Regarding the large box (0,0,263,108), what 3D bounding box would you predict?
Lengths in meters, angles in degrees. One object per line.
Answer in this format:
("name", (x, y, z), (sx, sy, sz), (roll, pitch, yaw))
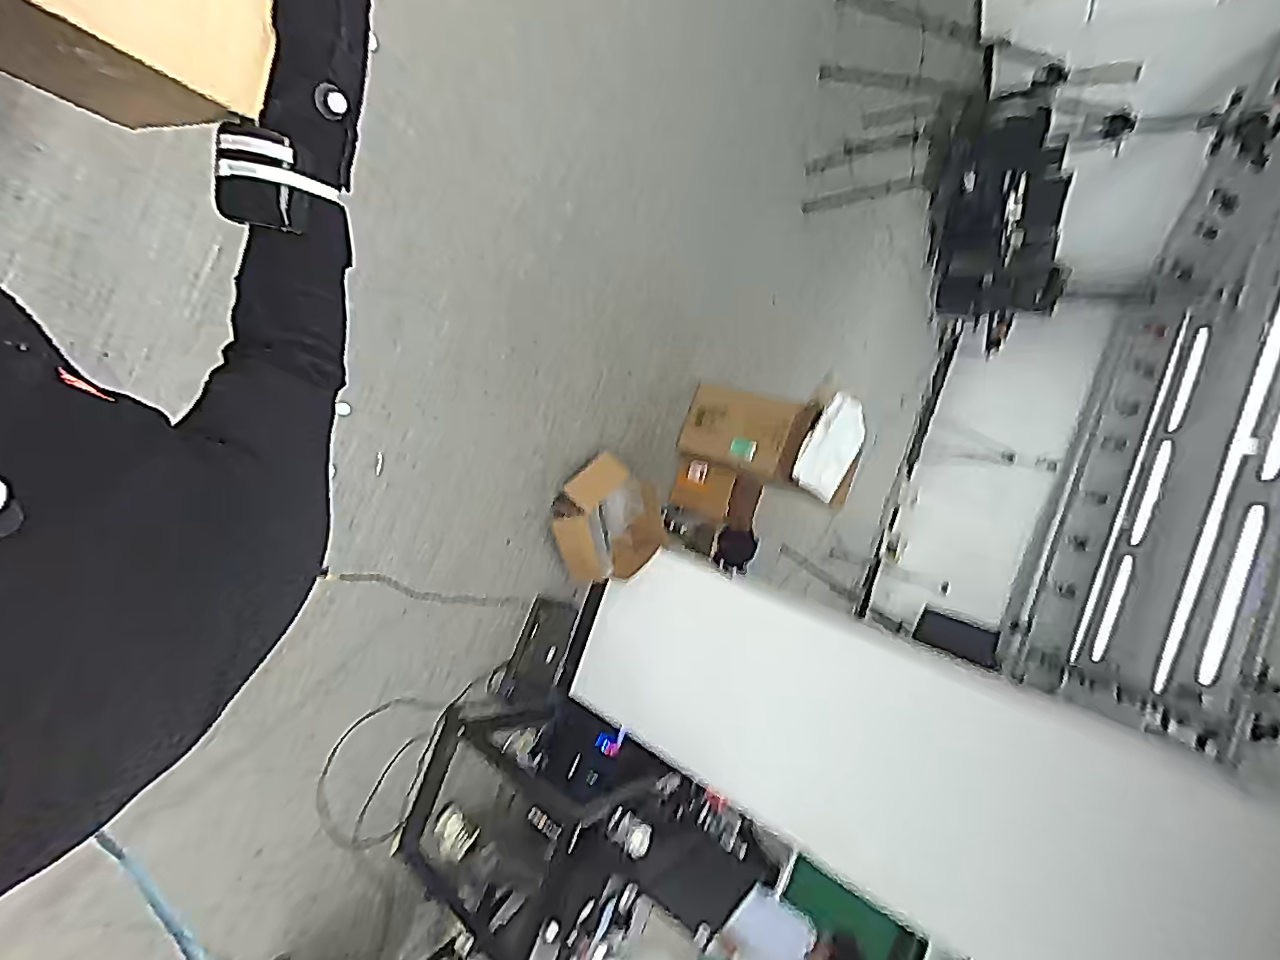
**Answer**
("large box", (-0.464, -0.469, 0.274), (0.408, 0.320, 0.320), (4, 106, -58))
